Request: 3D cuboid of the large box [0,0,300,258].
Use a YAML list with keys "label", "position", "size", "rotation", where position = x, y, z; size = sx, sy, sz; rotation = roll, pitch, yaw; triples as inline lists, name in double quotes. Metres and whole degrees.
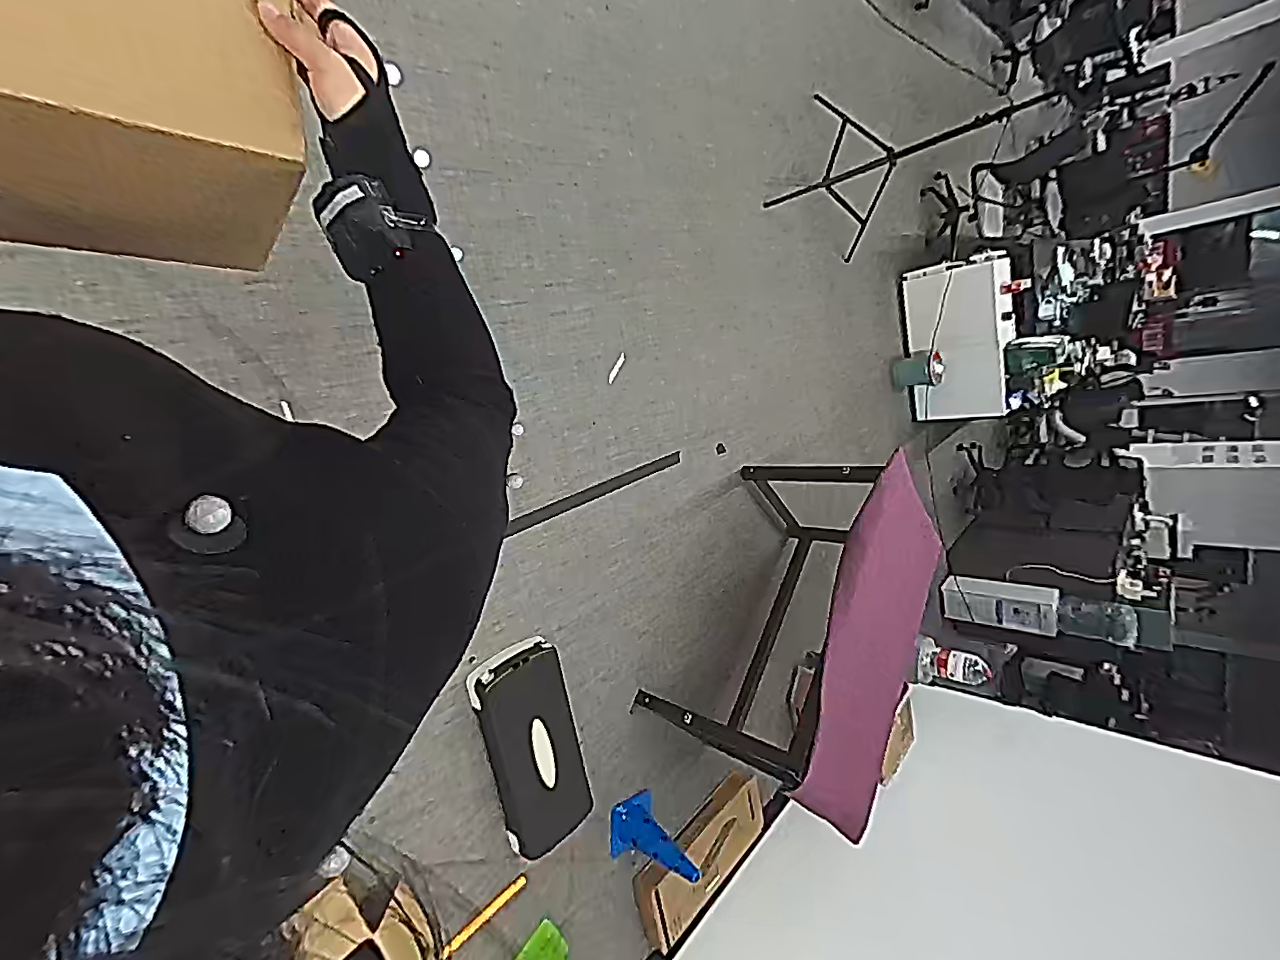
- label: "large box"
  position: [-0.530, -0.386, 0.405]
  size: [0.408, 0.320, 0.320]
  rotation: [-9, 96, -40]
